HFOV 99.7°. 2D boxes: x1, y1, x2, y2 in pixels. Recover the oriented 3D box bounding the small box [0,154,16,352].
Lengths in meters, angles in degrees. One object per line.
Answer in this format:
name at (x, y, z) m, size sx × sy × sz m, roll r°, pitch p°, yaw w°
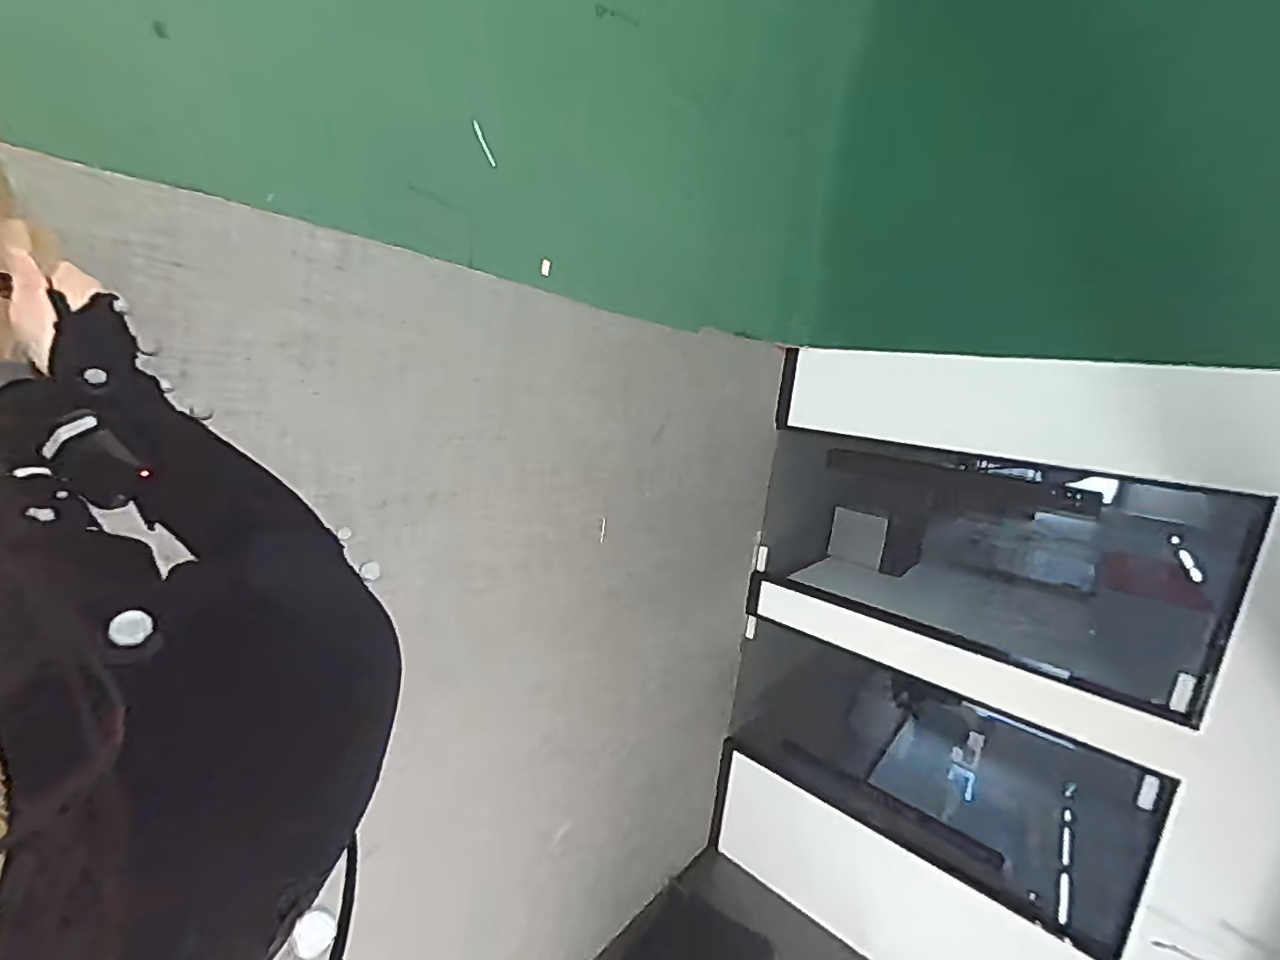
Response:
small box at (-0.599, -0.187, 0.394) m, size 0.179 × 0.176 × 0.168 m, roll 2°, pitch 93°, yaw -46°
